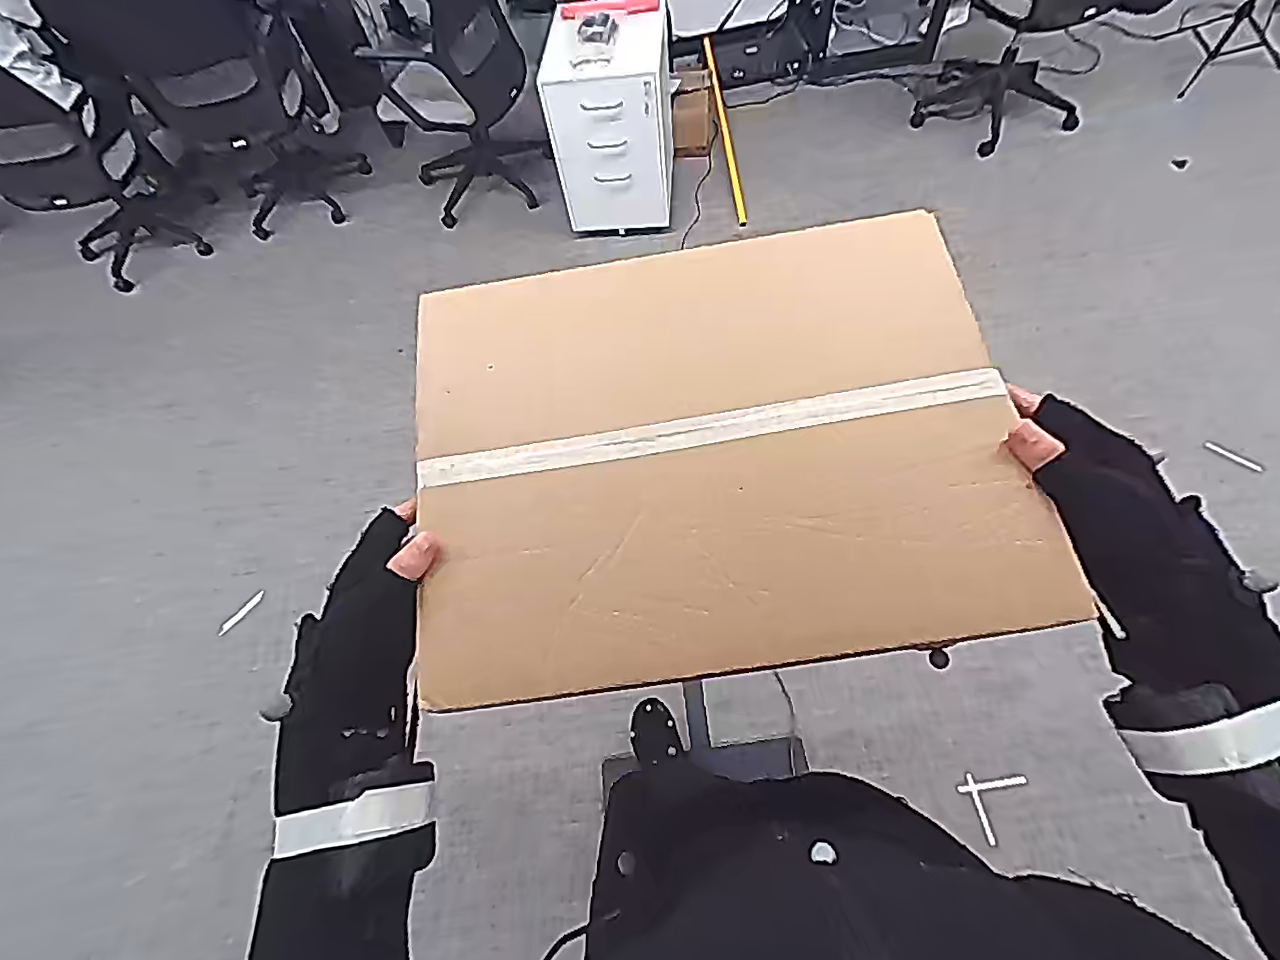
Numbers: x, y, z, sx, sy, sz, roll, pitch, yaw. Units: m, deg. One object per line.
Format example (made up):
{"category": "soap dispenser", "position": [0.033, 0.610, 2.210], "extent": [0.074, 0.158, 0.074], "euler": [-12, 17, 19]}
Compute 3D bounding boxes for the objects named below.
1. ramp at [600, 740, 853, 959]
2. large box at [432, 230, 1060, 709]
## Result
{"category": "ramp", "position": [0.184, 1.052, 1.014], "extent": [0.509, 0.206, 0.991], "euler": [-10, 61, 2]}
{"category": "large box", "position": [0.059, 0.020, 0.527], "extent": [0.408, 0.320, 0.320], "euler": [-9, 69, 2]}
